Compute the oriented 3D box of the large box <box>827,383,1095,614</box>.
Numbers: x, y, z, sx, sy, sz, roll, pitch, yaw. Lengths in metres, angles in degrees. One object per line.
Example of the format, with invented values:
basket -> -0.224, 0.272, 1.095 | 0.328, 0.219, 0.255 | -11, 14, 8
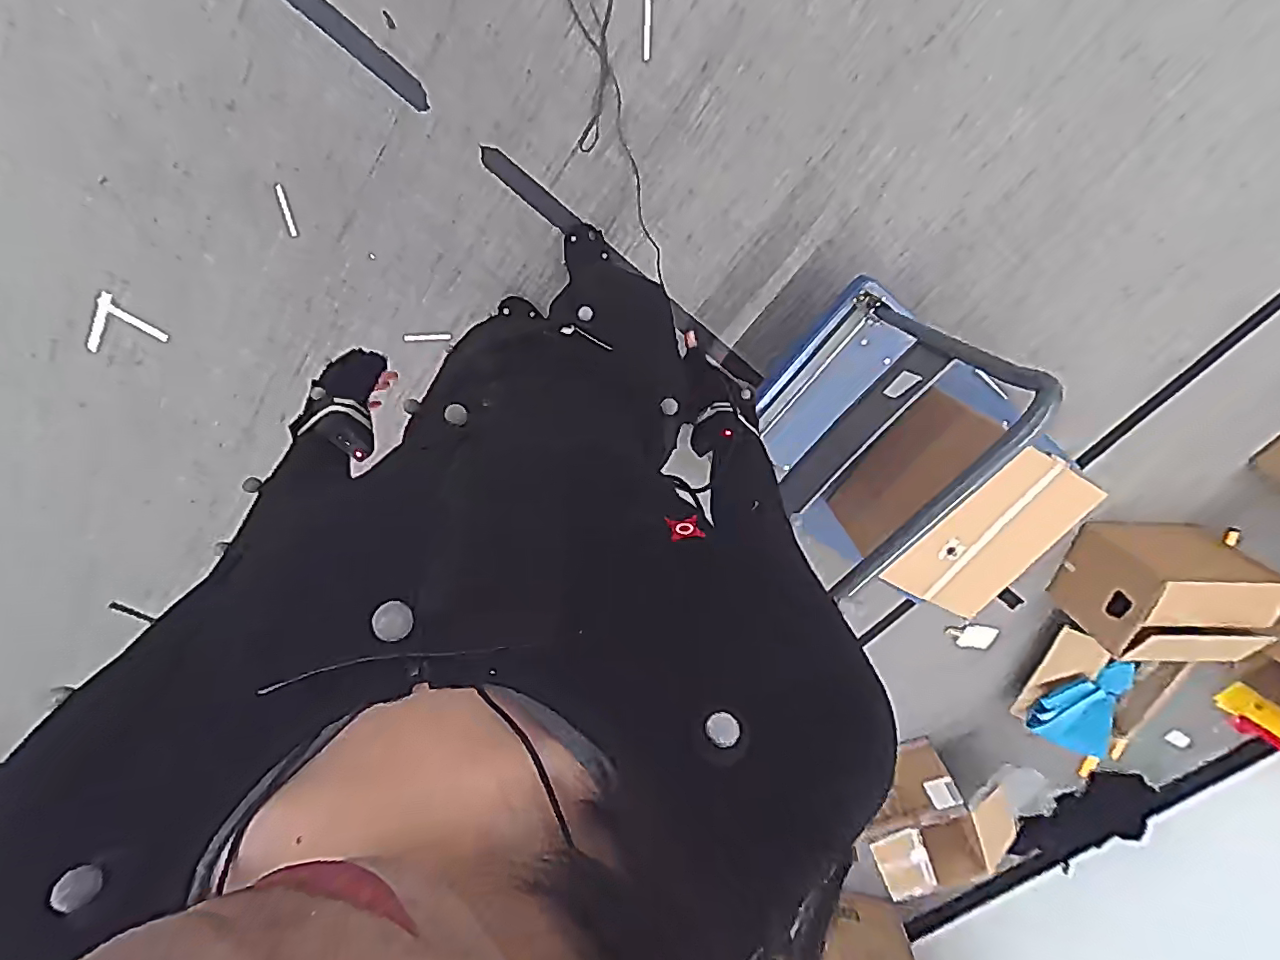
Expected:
large box -> 0.741, 0.039, 1.317 | 0.320, 0.320, 0.408 | 26, 115, -15
